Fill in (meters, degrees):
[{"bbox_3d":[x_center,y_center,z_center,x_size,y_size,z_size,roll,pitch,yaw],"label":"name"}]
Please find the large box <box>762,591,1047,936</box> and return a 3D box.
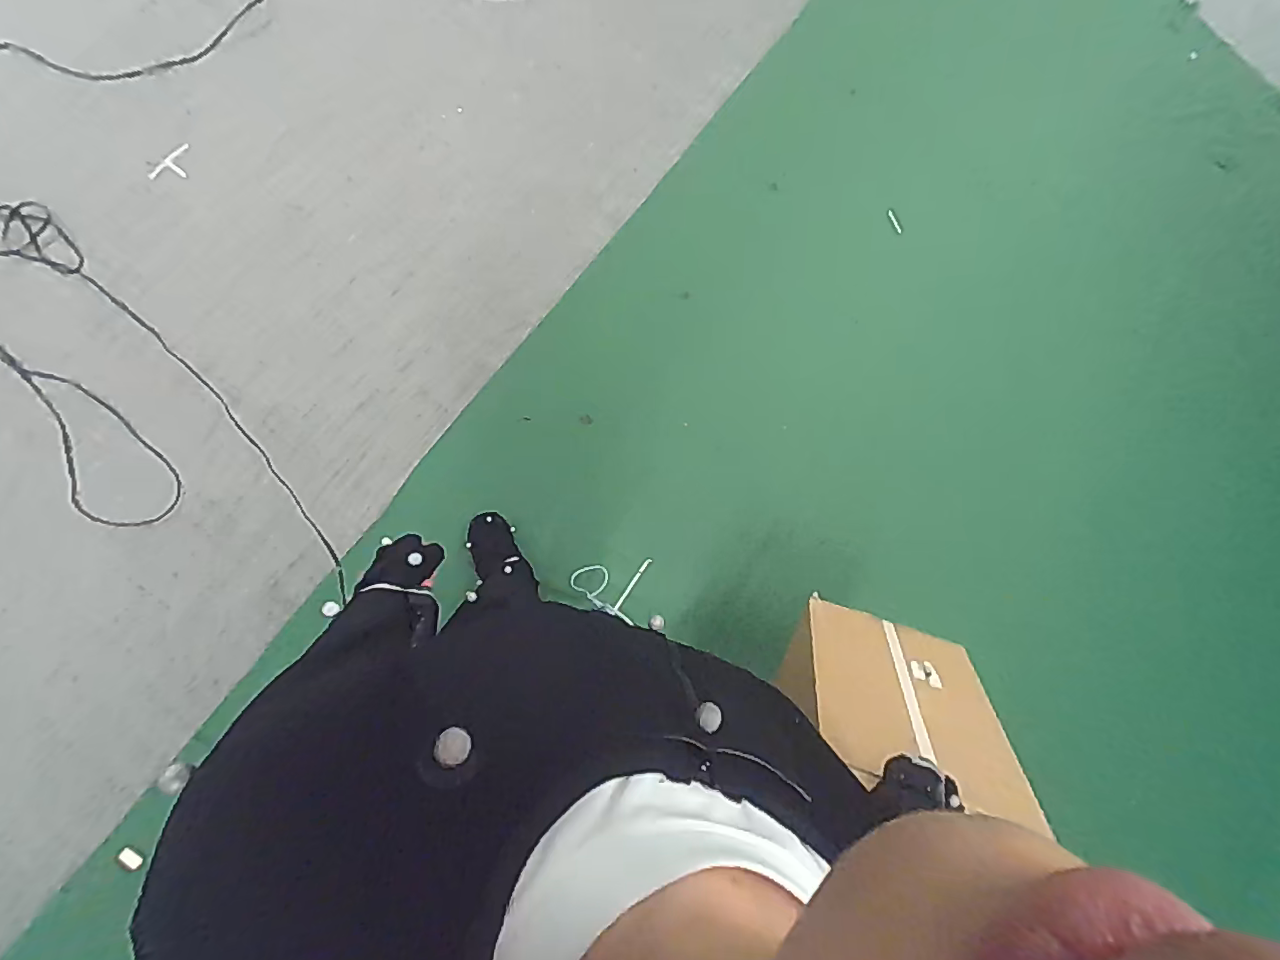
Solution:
[{"bbox_3d":[0.413,0.473,0.975,0.320,0.408,0.320,17,114,7],"label":"large box"}]
